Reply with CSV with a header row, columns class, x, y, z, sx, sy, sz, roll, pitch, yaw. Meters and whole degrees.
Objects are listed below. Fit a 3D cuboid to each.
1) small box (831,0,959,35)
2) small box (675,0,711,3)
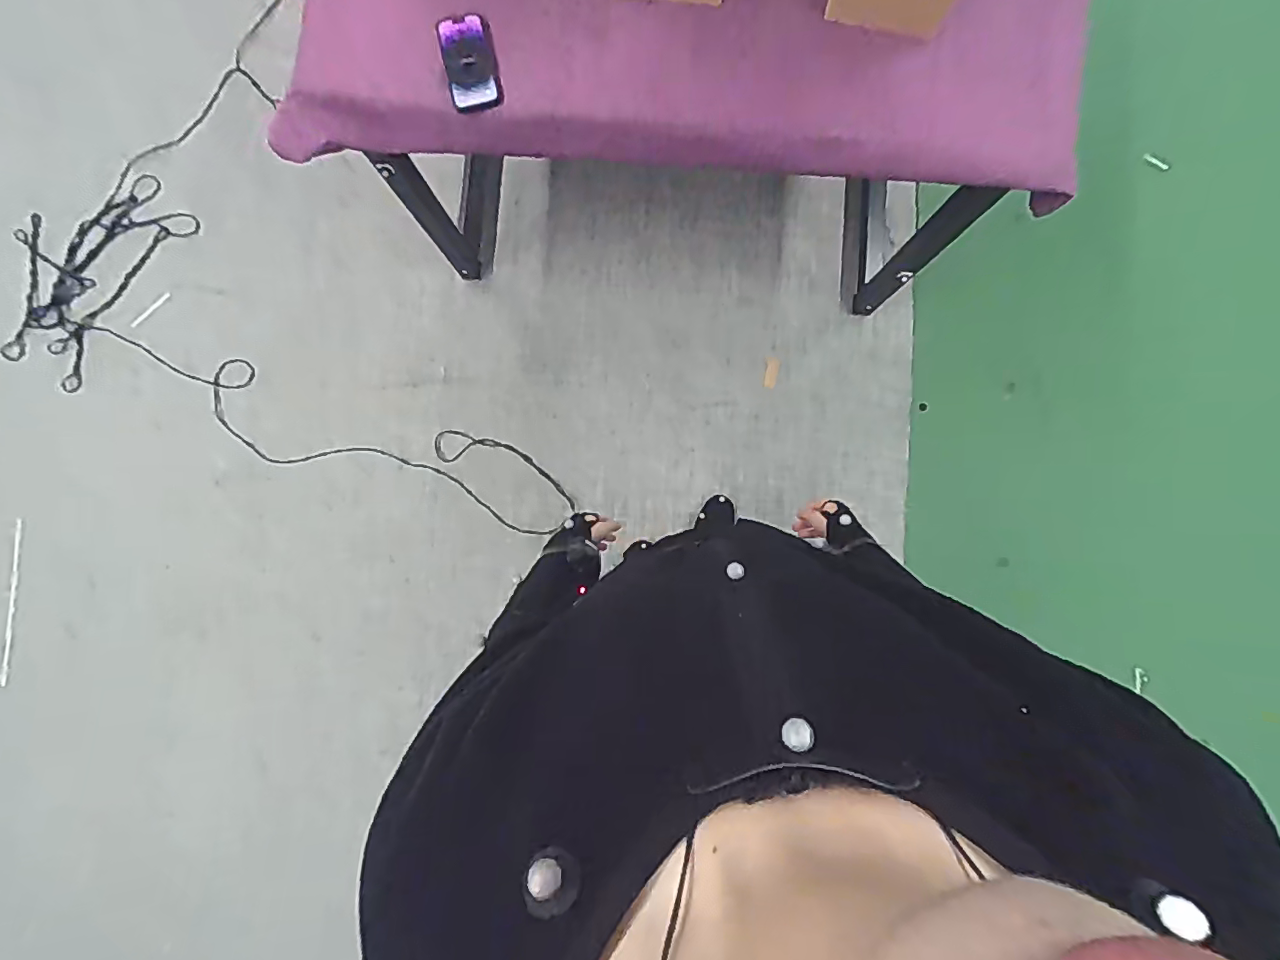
class,x,y,z,sx,sy,sz,roll,pitch,yaw
small box,0.393,-0.778,0.757,0.179,0.176,0.168,13,86,3
small box,0.056,-0.830,0.766,0.179,0.176,0.168,6,86,2
